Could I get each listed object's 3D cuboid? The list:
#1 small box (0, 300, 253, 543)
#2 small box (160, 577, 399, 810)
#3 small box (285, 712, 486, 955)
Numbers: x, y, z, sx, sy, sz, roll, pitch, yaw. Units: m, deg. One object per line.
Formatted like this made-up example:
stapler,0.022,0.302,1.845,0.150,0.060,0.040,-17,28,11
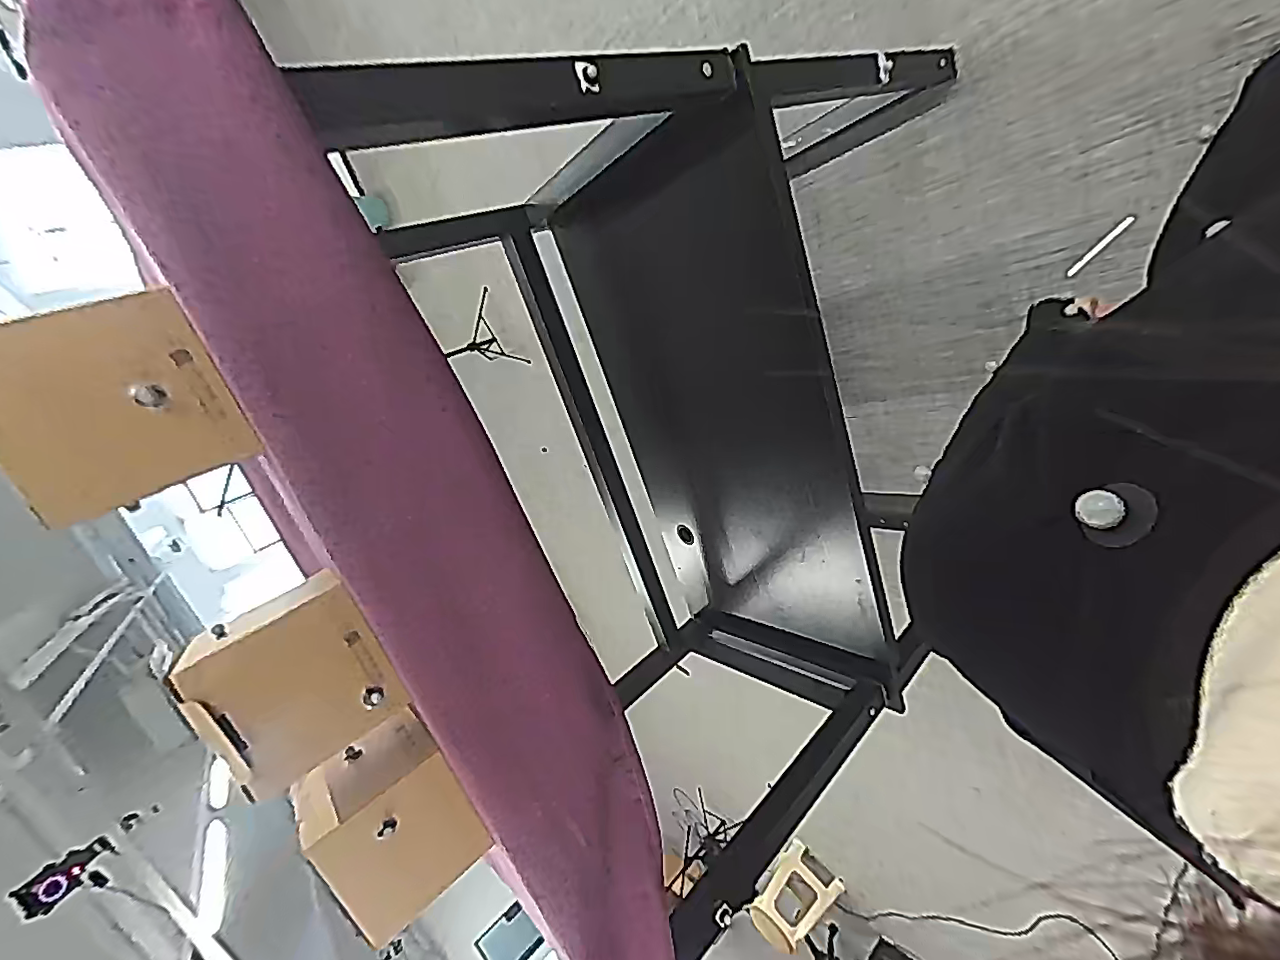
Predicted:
small box,-0.514,-0.063,0.530,0.179,0.176,0.168,9,124,51
small box,-0.412,0.232,0.642,0.179,0.176,0.168,-3,113,56
small box,-0.336,0.450,0.723,0.168,0.176,0.179,4,120,53
